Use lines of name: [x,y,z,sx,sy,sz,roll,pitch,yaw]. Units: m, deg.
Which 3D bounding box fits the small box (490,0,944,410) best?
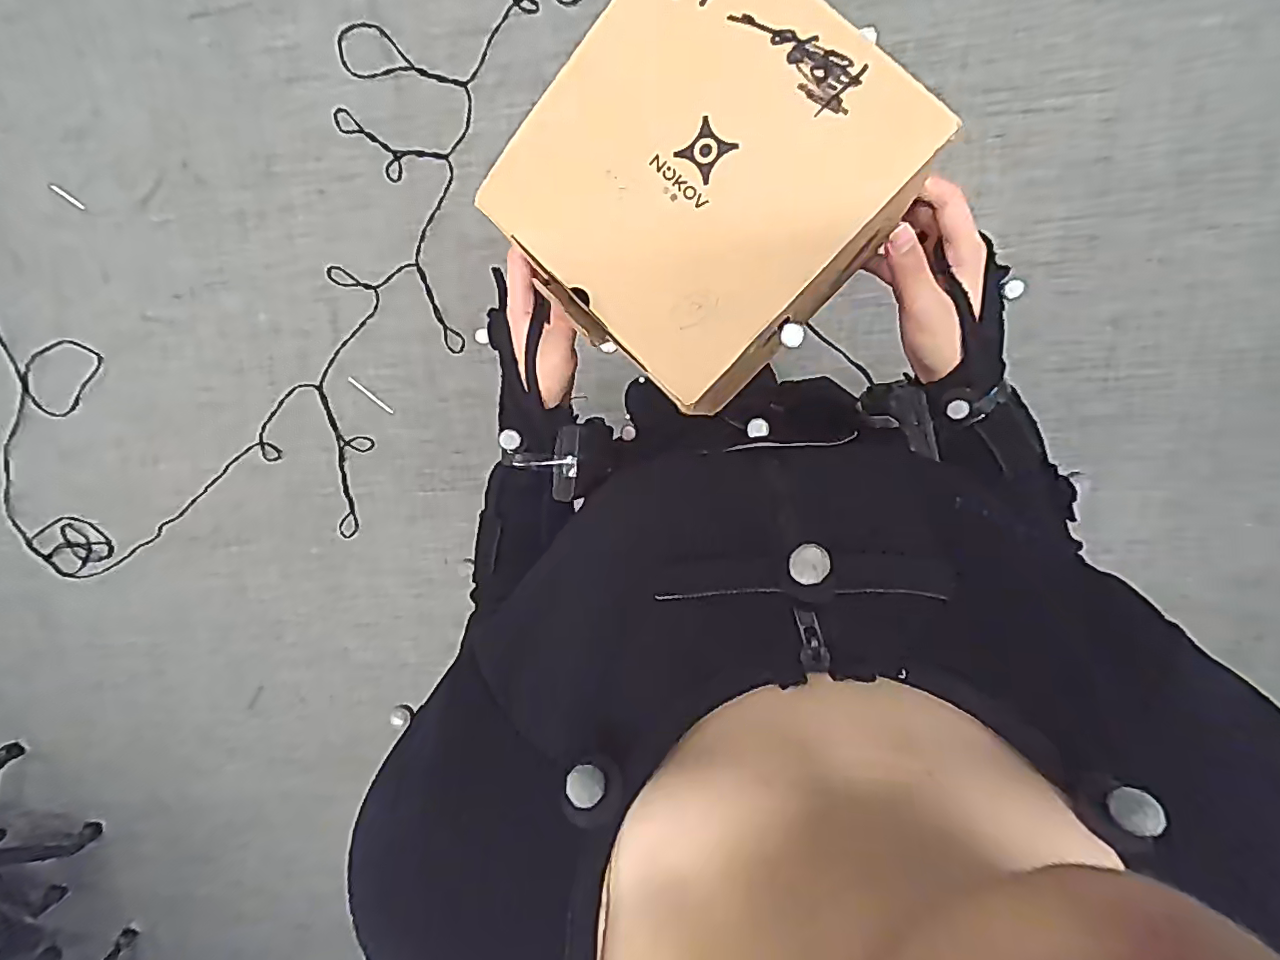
small box: [0.047,-0.161,0.350,0.168,0.176,0.179,44,105,5]
